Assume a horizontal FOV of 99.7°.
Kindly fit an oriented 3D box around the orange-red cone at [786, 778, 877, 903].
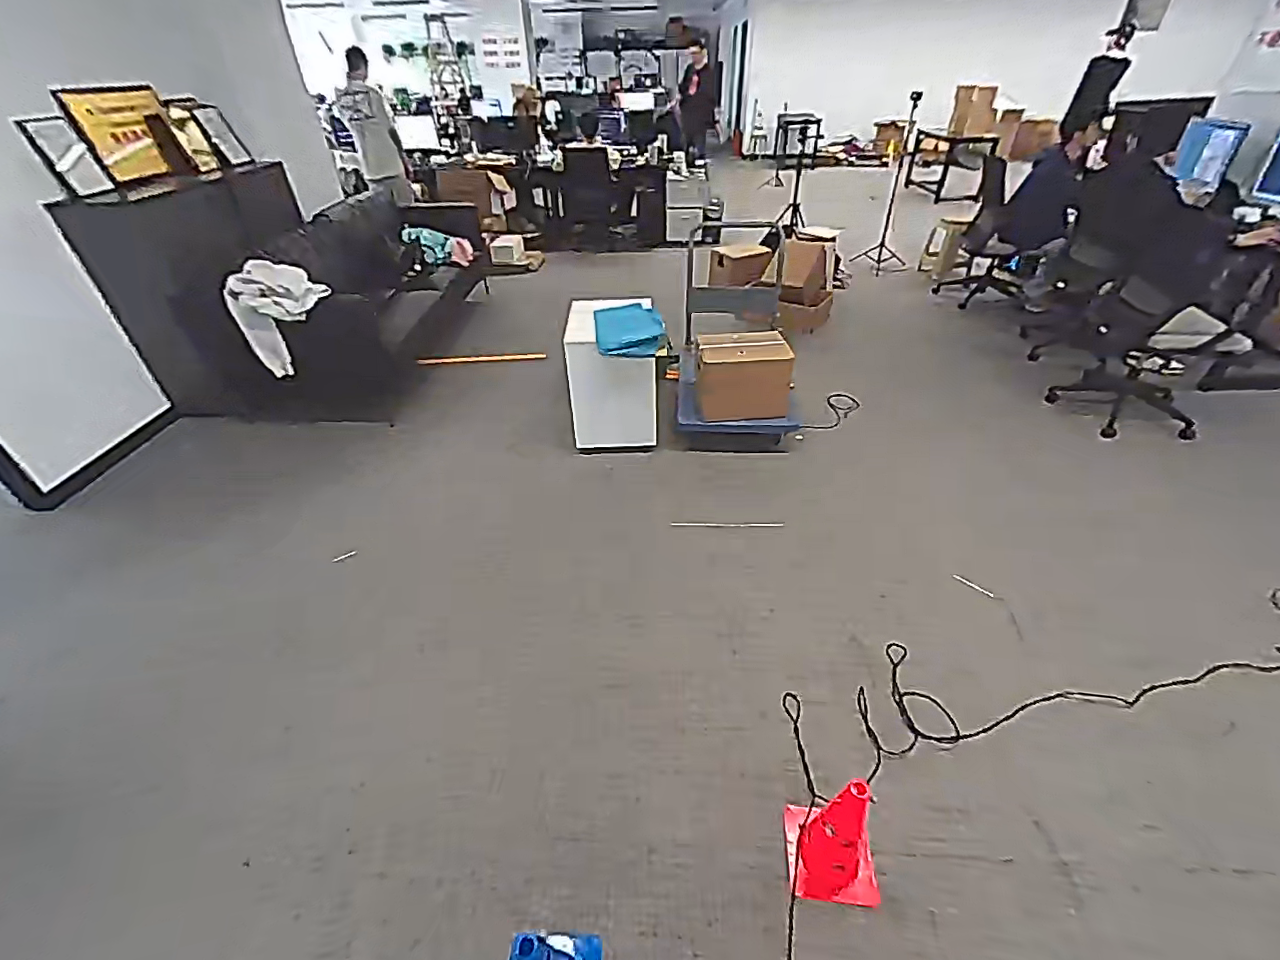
[{"bbox_3d":[0.451,0.764,1.206,0.198,0.360,0.199,3,39,8],"label":"orange-red cone"}]
